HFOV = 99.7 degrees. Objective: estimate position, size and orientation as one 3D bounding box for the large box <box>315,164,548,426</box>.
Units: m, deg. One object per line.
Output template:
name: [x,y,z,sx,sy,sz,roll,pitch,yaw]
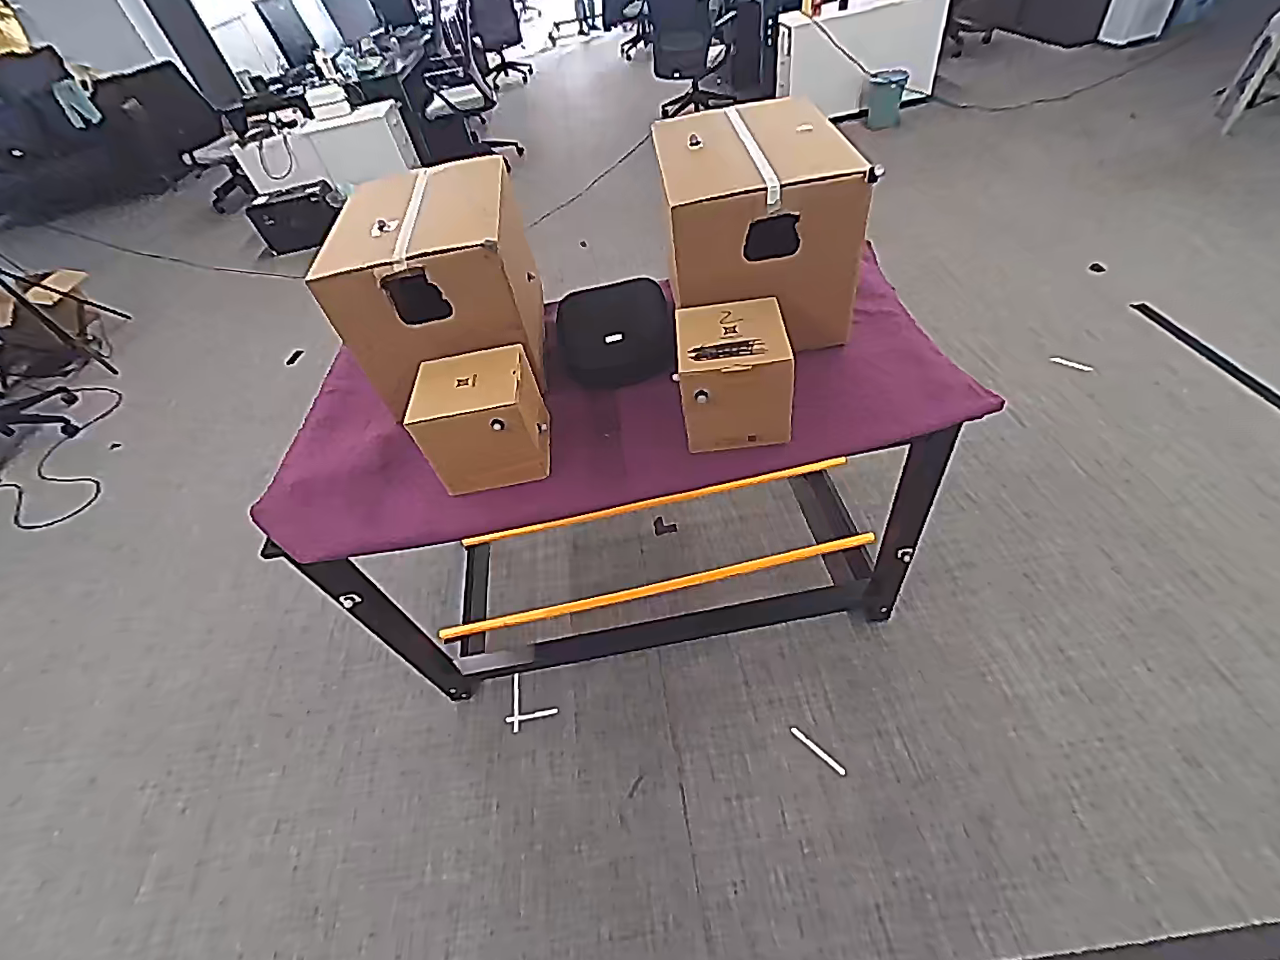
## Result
large box: [-0.382,-0.376,1.094,0.320,0.320,0.408,-13,50,1]
